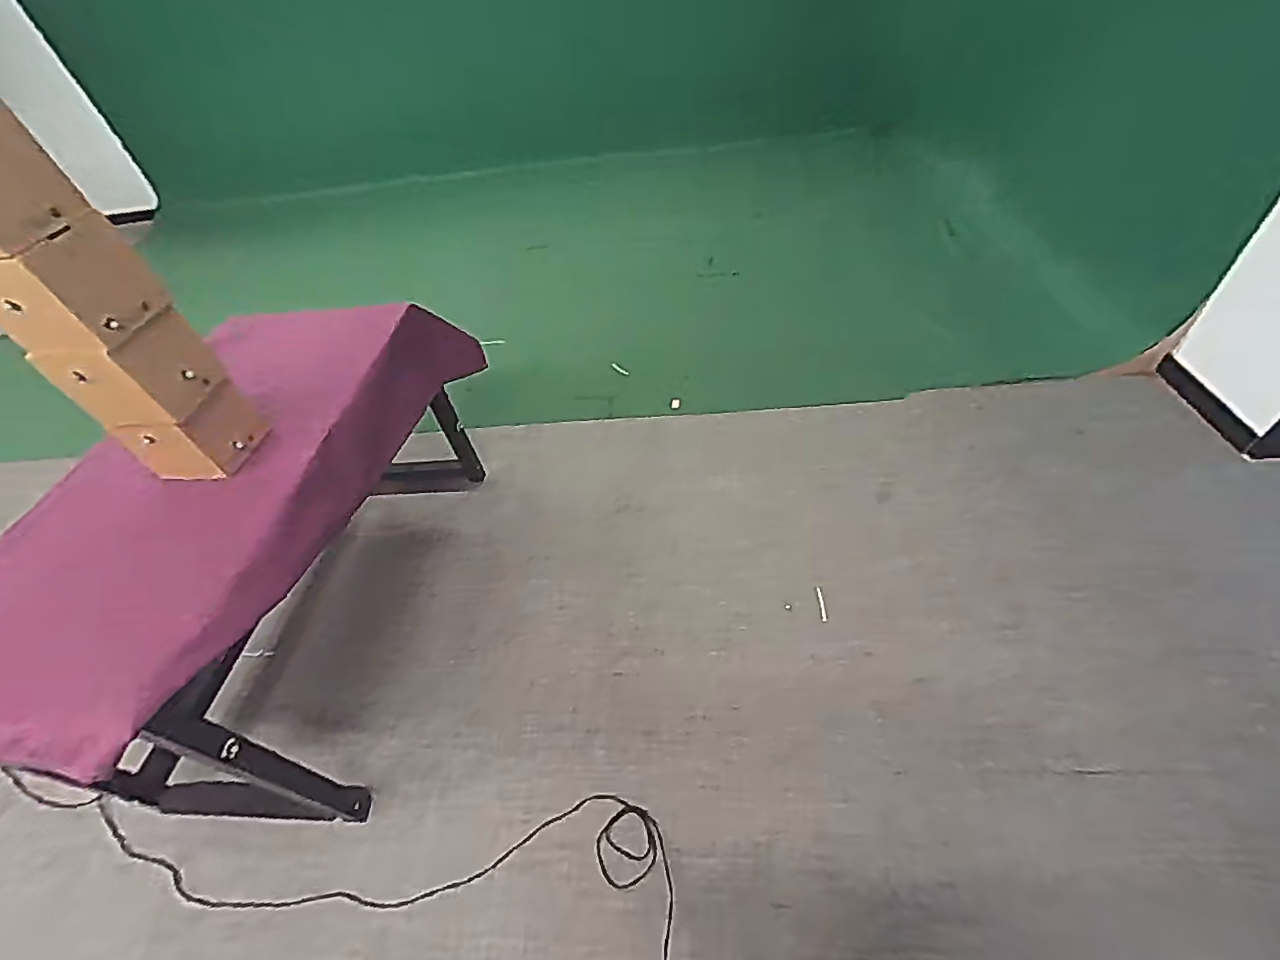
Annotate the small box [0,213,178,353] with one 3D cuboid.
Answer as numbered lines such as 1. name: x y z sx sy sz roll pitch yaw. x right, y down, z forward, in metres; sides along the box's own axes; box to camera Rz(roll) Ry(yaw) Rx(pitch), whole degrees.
1. small box: -0.971 -0.335 0.933 0.179 0.176 0.168 0 49 10

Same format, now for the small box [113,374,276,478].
1. small box: -0.955 -0.118 1.179 0.179 0.176 0.168 1 49 10

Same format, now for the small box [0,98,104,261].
1. small box: -0.996 -0.443 0.812 0.179 0.176 0.168 1 49 11

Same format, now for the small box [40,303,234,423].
1. small box: -0.960 -0.223 1.053 0.179 0.176 0.168 0 49 9
